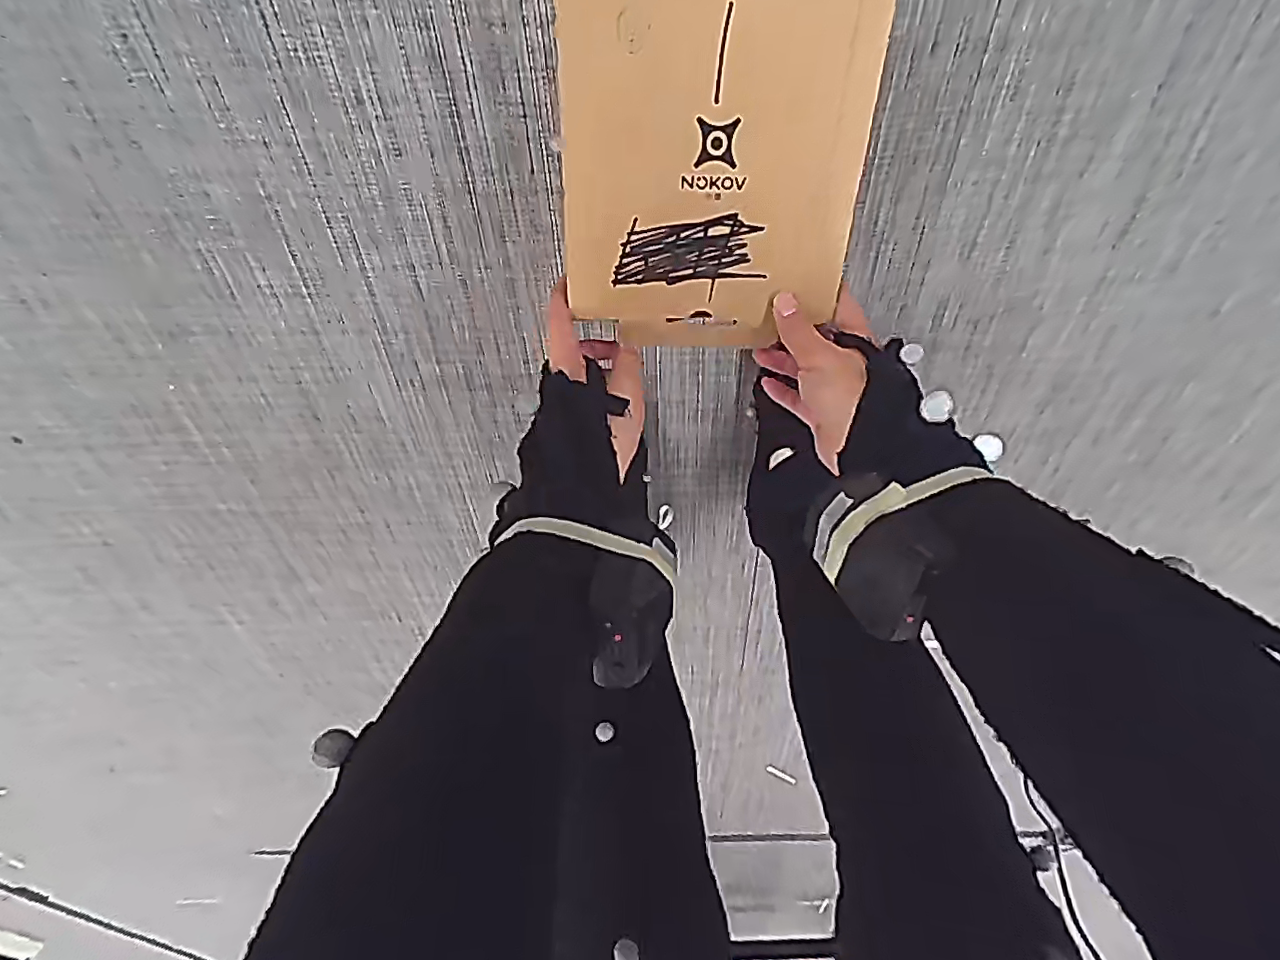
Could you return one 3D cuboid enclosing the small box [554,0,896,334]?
[{"bbox_3d":[0.038,-0.208,0.362,0.168,0.176,0.179,1,119,-1],"label":"small box"}]
